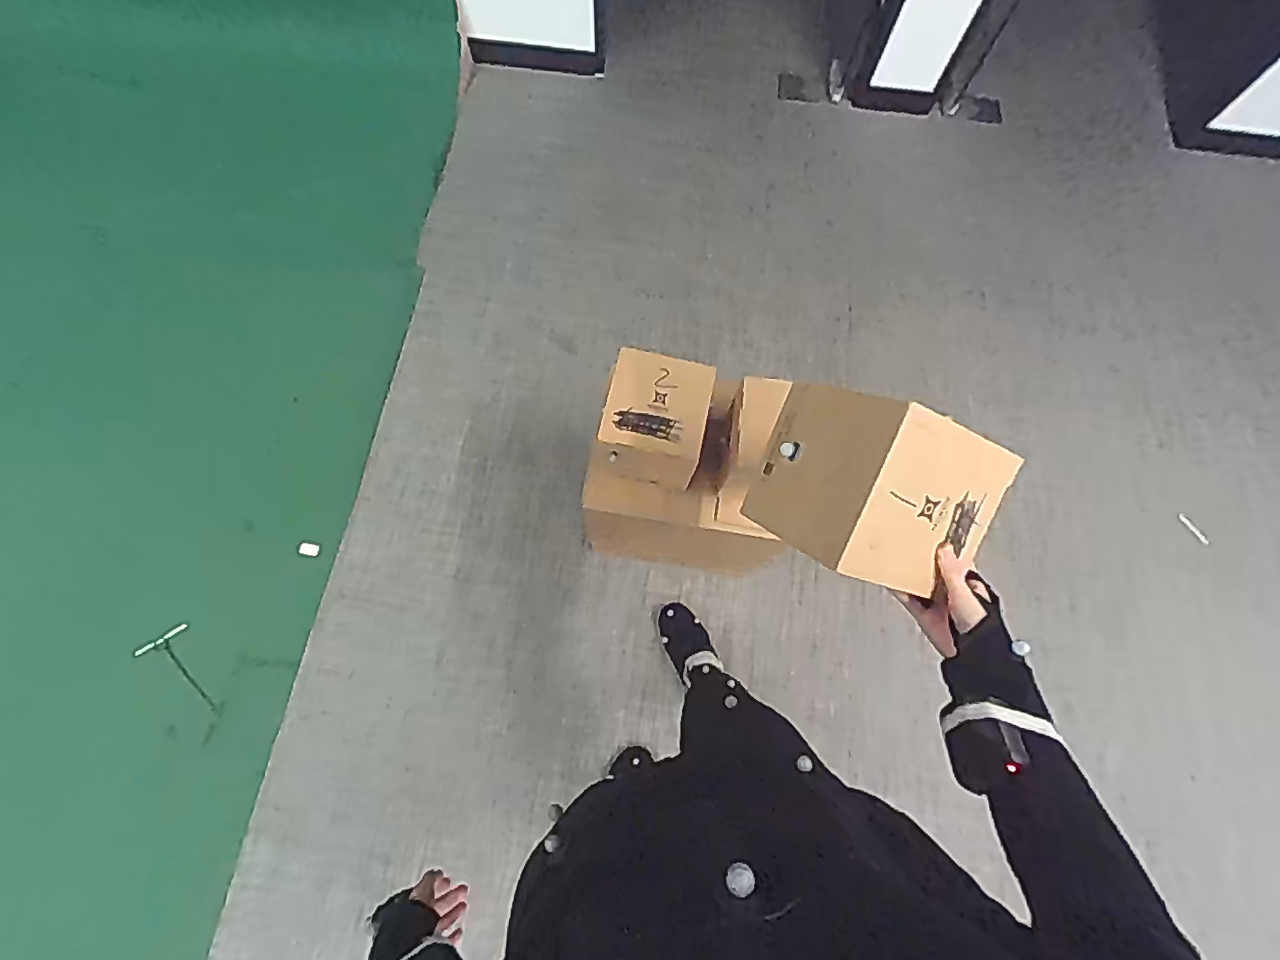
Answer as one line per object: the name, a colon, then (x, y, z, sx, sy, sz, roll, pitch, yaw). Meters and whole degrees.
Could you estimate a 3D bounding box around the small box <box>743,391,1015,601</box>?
small box: (0.247, 0.009, 0.589, 0.179, 0.176, 0.168, 17, 97, -24)
